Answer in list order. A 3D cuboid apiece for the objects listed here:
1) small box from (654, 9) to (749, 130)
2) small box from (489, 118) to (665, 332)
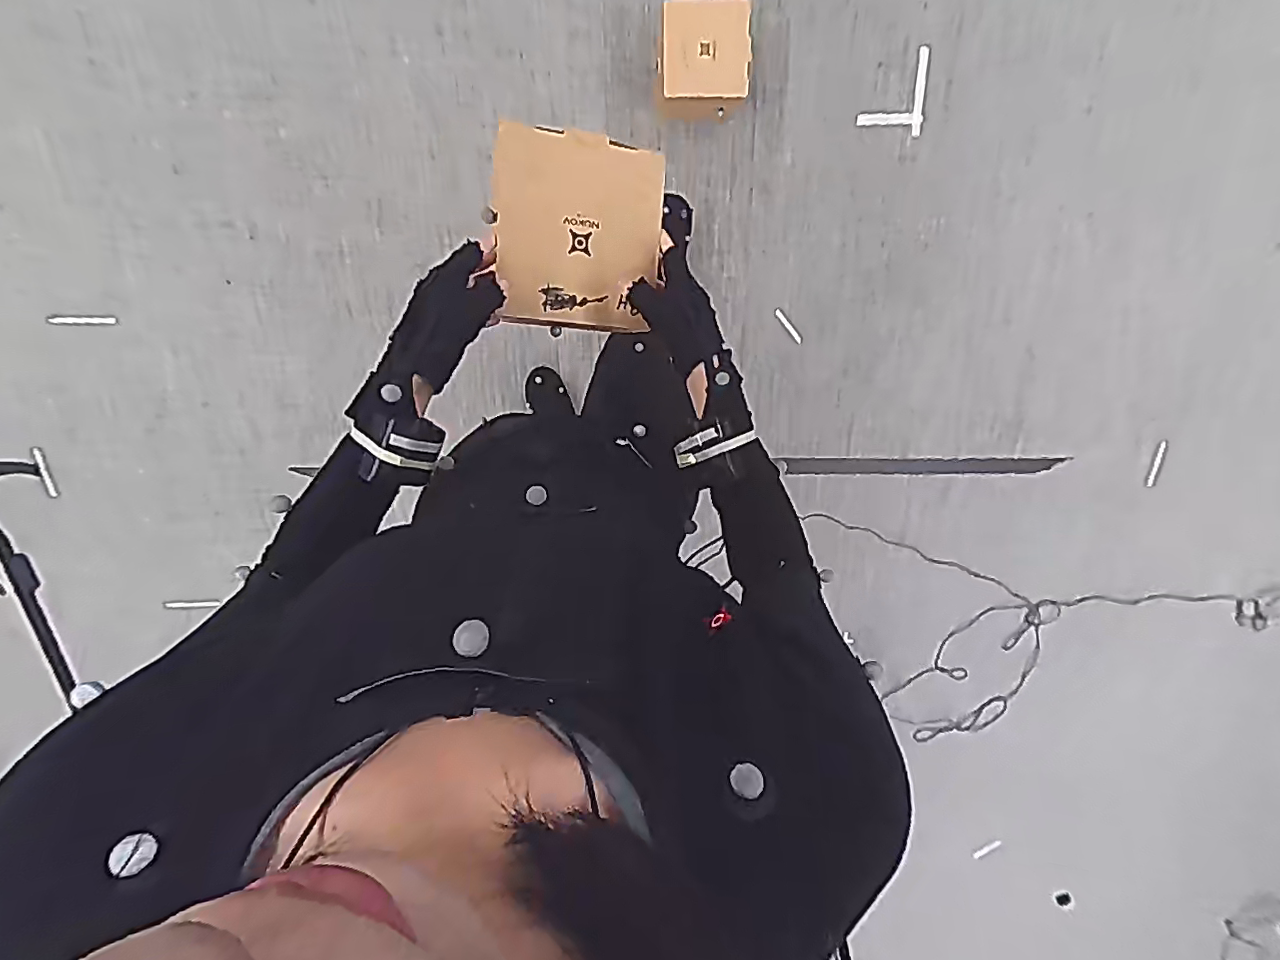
[{"bbox_3d":[0.125,-0.870,1.160,0.179,0.176,0.168,-2,108,-2],"label":"small box"},{"bbox_3d":[-0.083,-0.268,0.616,0.168,0.176,0.179,1,104,-18],"label":"small box"}]
